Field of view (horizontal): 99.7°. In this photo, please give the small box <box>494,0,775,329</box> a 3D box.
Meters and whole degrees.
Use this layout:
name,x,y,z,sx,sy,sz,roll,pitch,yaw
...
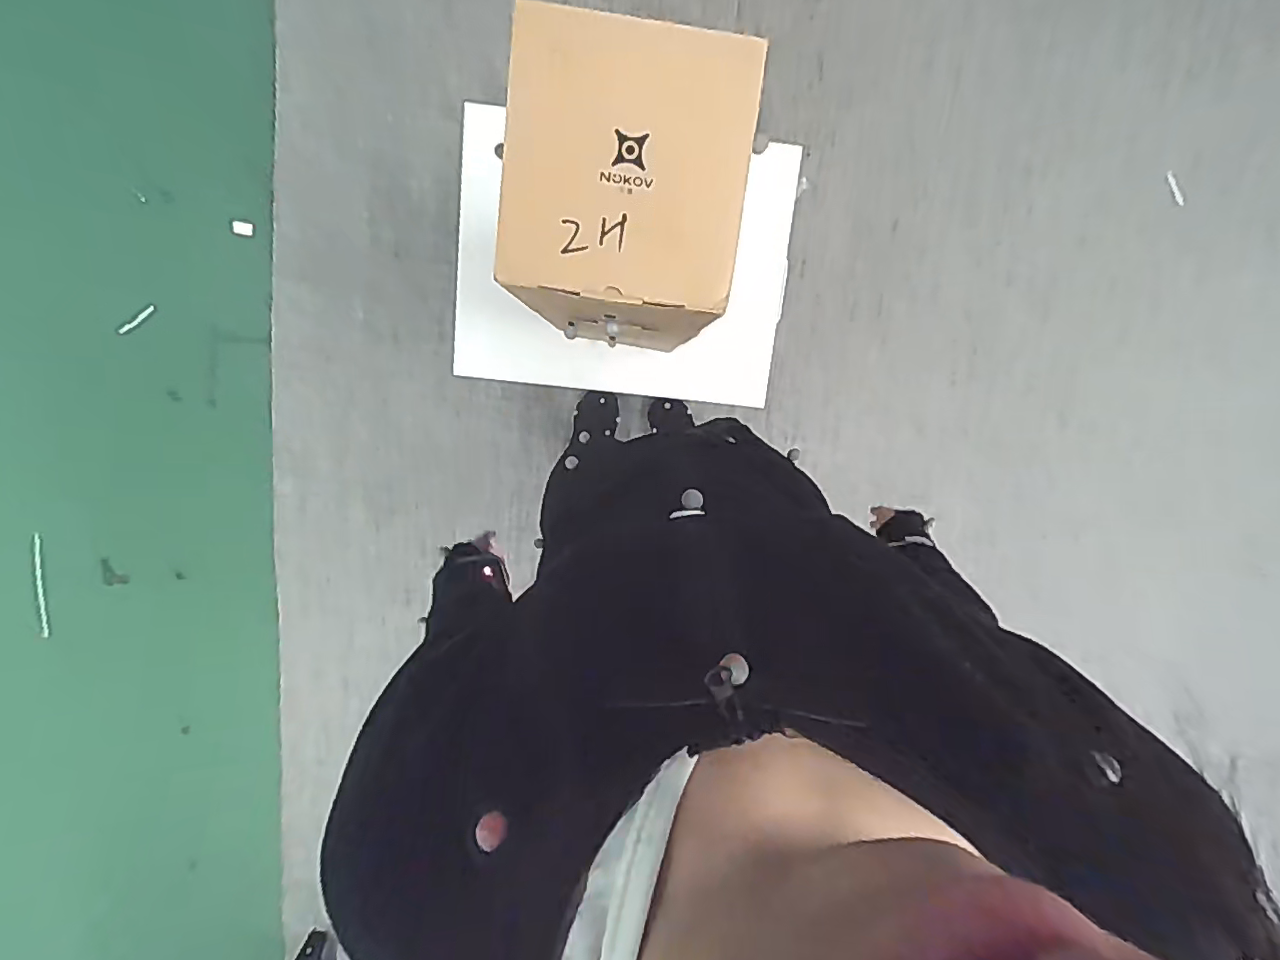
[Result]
name,x,y,z,sx,sy,sz,roll,pitch,yaw
small box,-0.008,-0.227,0.428,0.168,0.176,0.179,7,100,-2

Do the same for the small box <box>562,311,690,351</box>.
name,x,y,z,sx,sy,sz,roll,pitch,yaw
small box,-0.010,-0.285,0.752,0.168,0.176,0.179,8,99,-3
